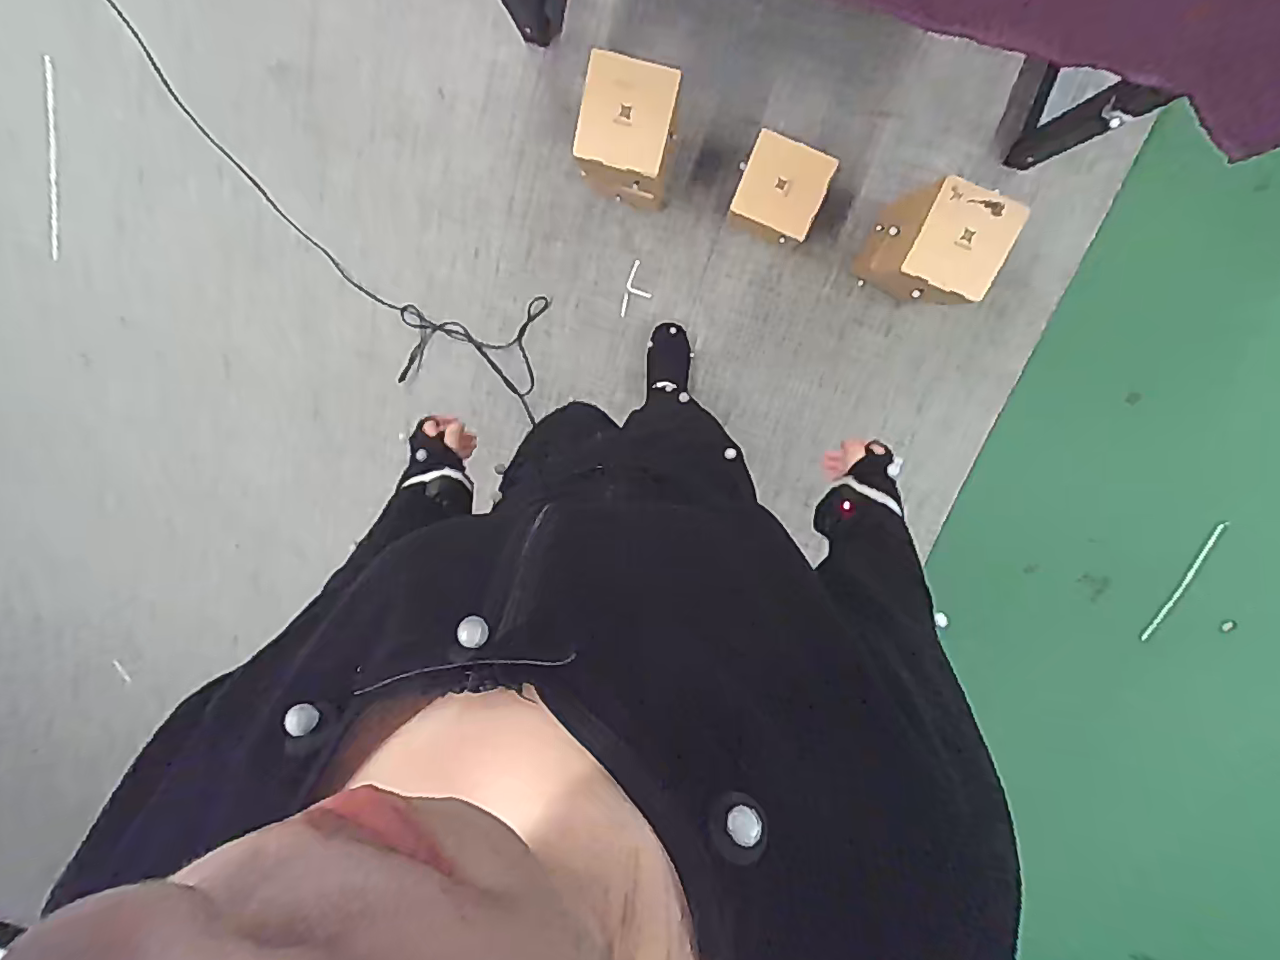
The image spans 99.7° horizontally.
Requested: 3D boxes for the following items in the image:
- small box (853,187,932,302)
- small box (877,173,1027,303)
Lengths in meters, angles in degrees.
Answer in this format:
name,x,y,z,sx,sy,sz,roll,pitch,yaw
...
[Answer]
name,x,y,z,sx,sy,sz,roll,pitch,yaw
small box,0.604,-0.515,1.214,0.168,0.176,0.179,26,106,-3
small box,0.591,-0.461,1.059,0.168,0.176,0.179,23,108,-2
